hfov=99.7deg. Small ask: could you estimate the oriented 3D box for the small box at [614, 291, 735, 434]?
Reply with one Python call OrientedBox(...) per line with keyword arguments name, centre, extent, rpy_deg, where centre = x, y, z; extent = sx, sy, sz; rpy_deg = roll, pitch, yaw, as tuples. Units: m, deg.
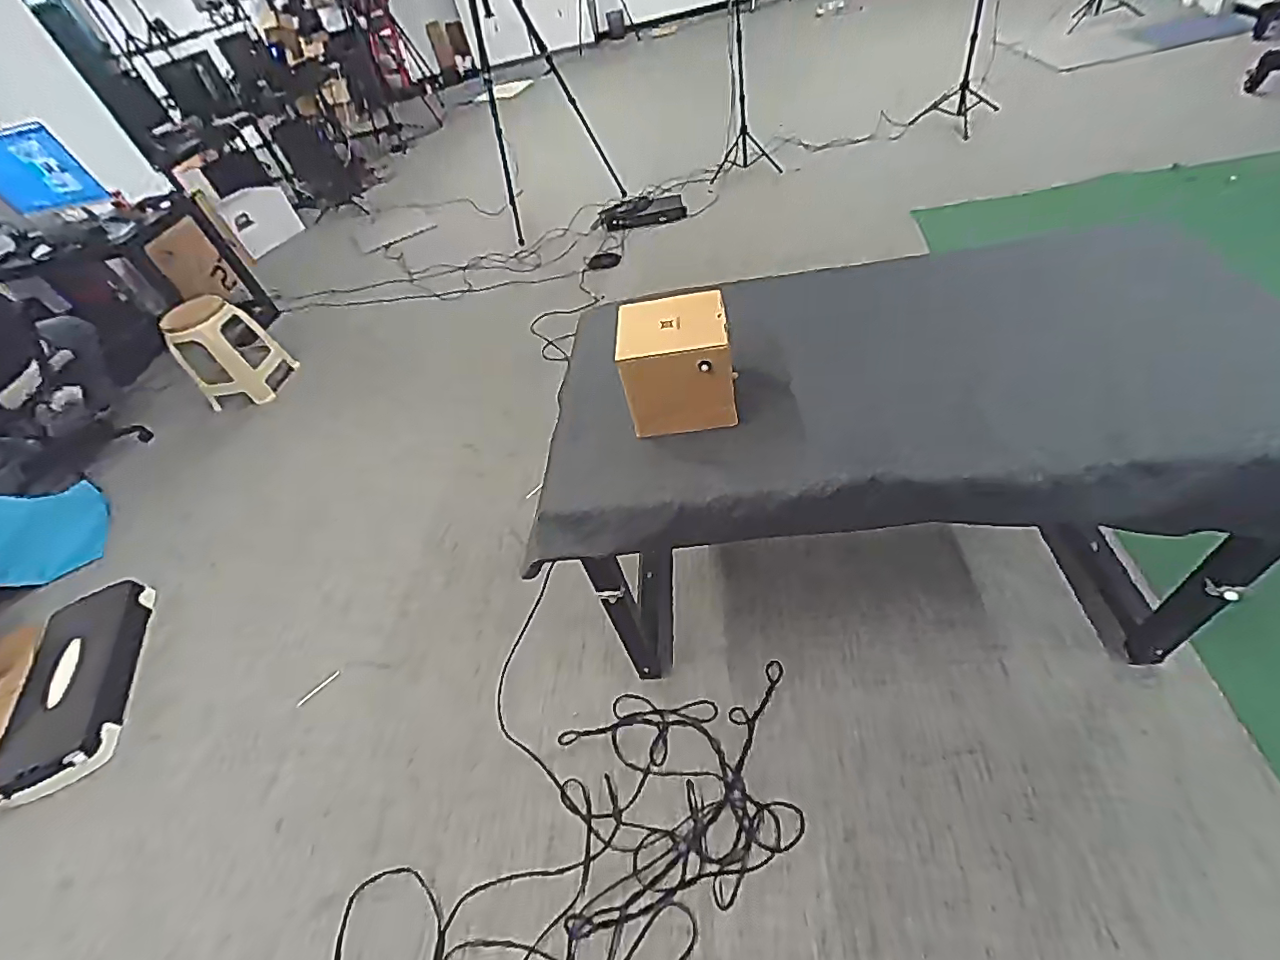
OrientedBox(name="small box", centre=(0.062, -0.194, 0.922), extent=(0.179, 0.176, 0.168), rpy_deg=(-6, 47, 8))
